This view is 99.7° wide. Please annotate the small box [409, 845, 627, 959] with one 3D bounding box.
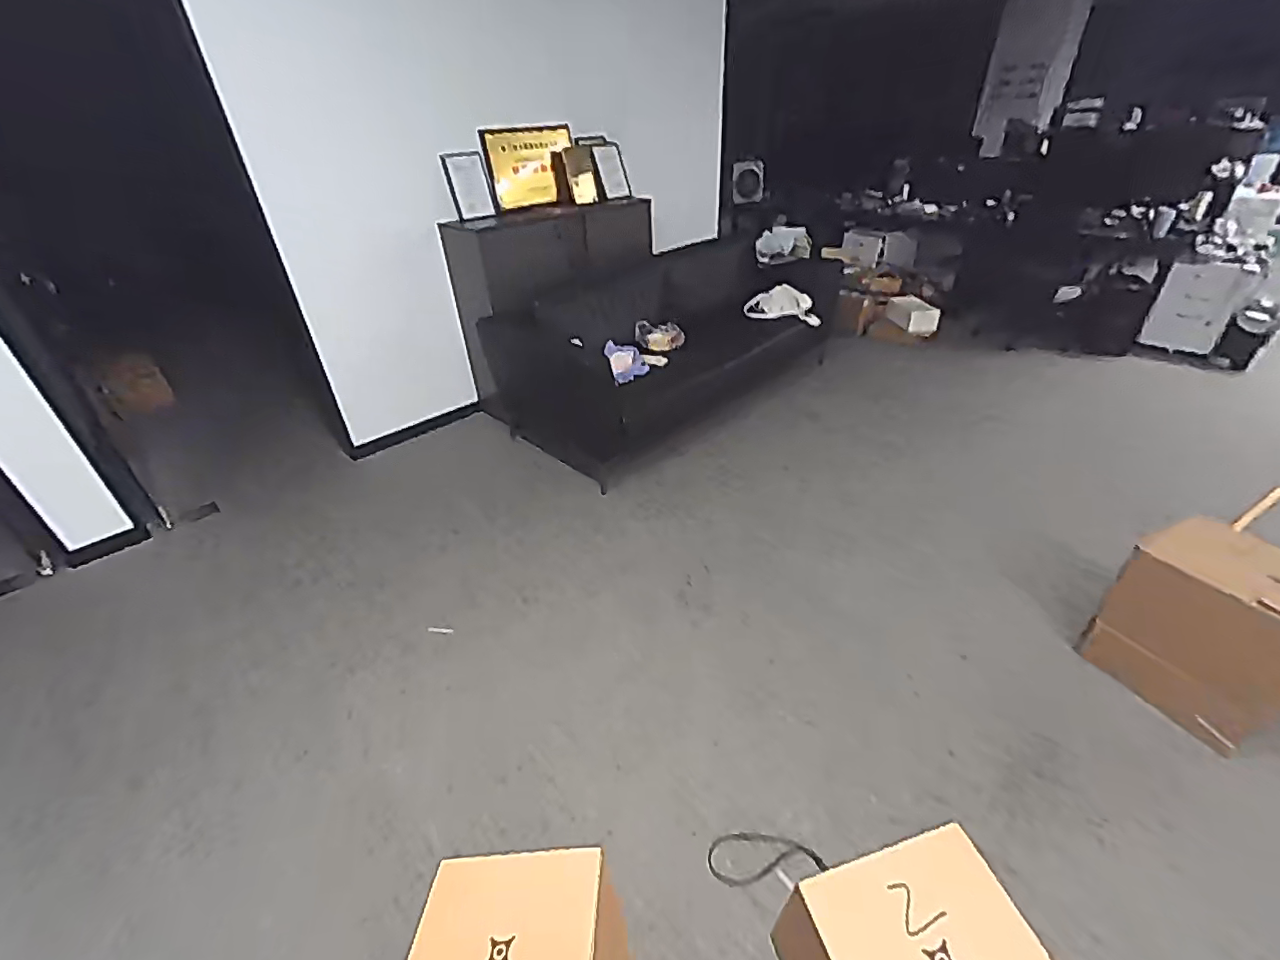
[{"bbox_3d":[-0.106,0.474,0.490,0.168,0.176,0.179,-7,23,5],"label":"small box"}]
